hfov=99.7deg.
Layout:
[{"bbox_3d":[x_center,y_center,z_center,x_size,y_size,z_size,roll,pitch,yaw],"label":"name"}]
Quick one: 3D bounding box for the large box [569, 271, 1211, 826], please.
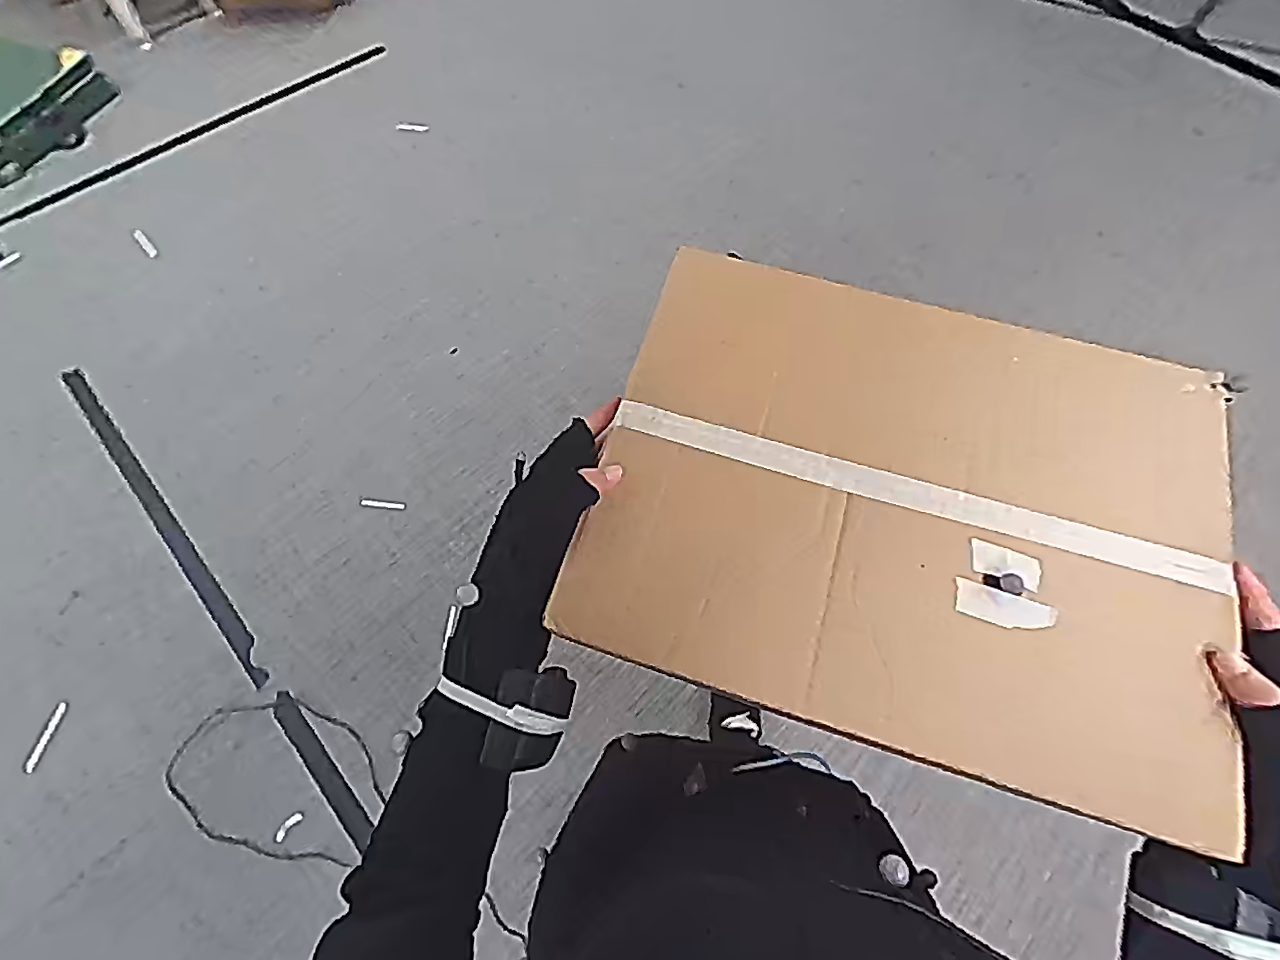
[{"bbox_3d":[0.184,0.062,0.521,0.408,0.320,0.320,16,73,7],"label":"large box"}]
